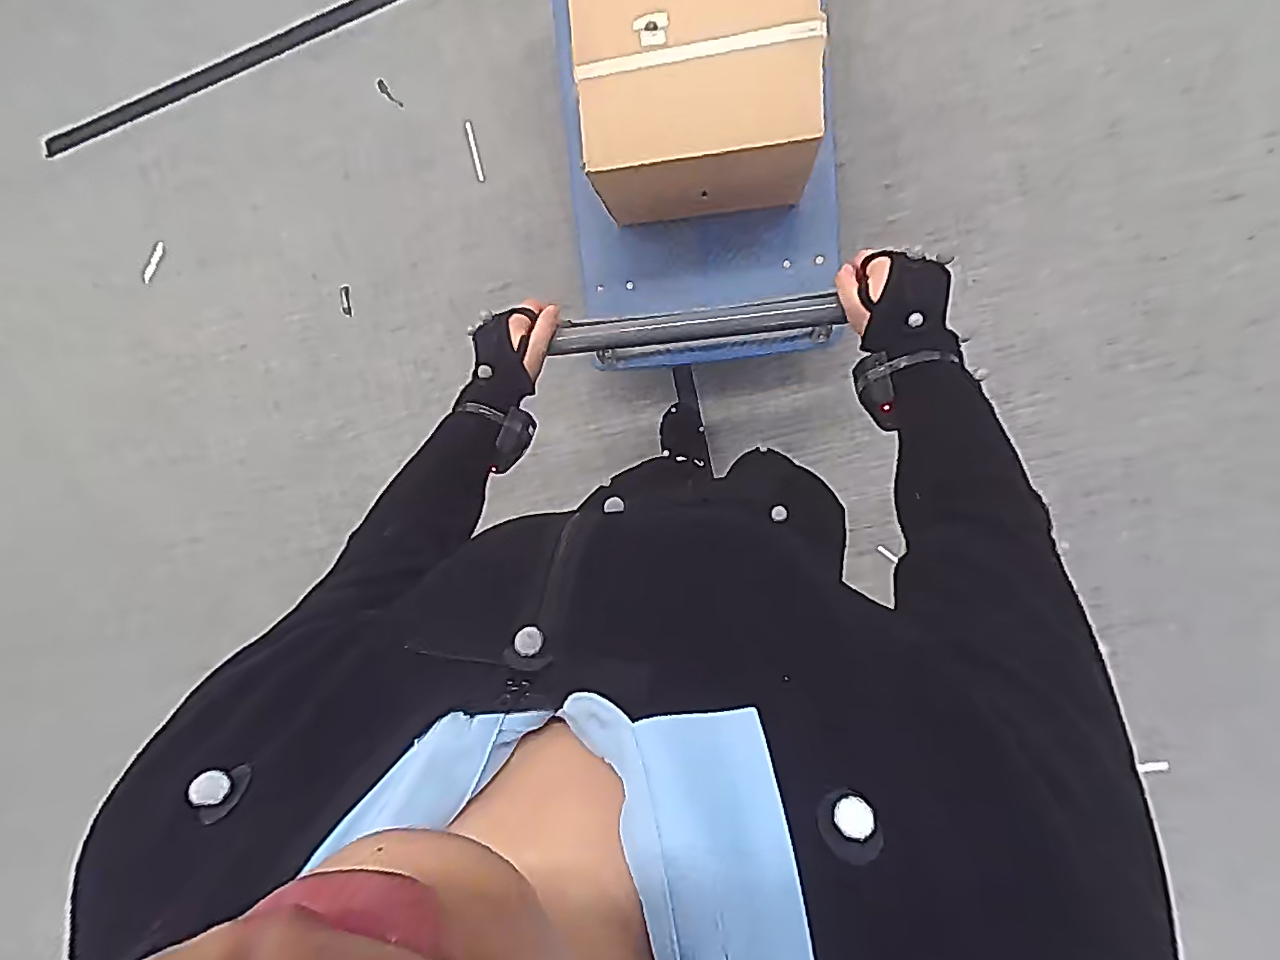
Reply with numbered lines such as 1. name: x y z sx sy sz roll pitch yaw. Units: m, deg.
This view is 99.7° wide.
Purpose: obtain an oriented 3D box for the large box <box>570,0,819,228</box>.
1. large box: 0.114 -0.719 1.051 0.408 0.320 0.320 -3 97 10
